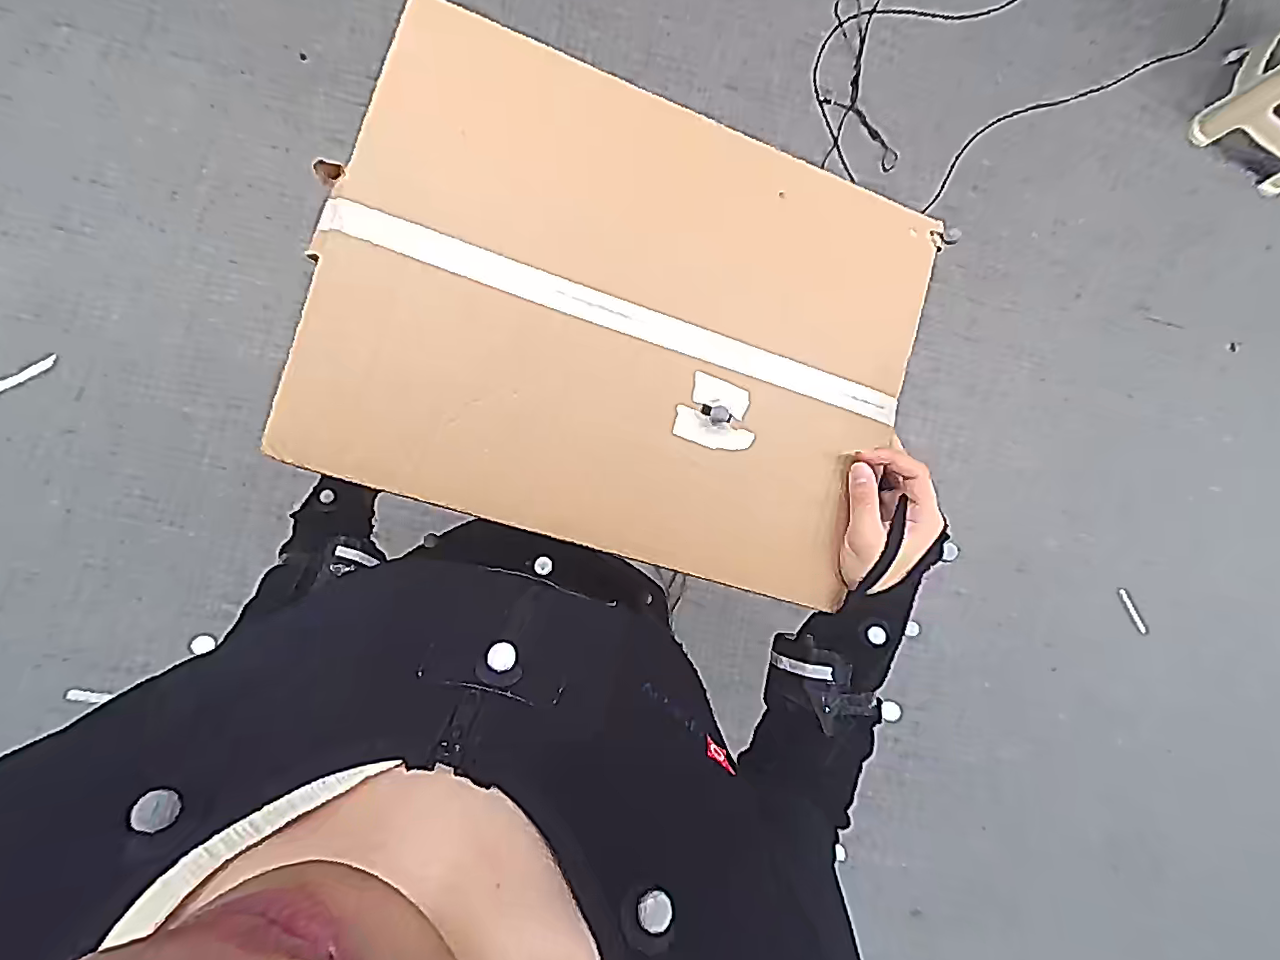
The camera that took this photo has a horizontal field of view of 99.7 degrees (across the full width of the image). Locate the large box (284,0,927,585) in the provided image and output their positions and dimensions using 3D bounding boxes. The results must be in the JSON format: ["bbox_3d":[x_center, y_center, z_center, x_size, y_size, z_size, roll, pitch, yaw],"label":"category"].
[{"bbox_3d":[-0.029,-0.117,0.525,0.408,0.320,0.320,17,87,-12],"label":"large box"}]
